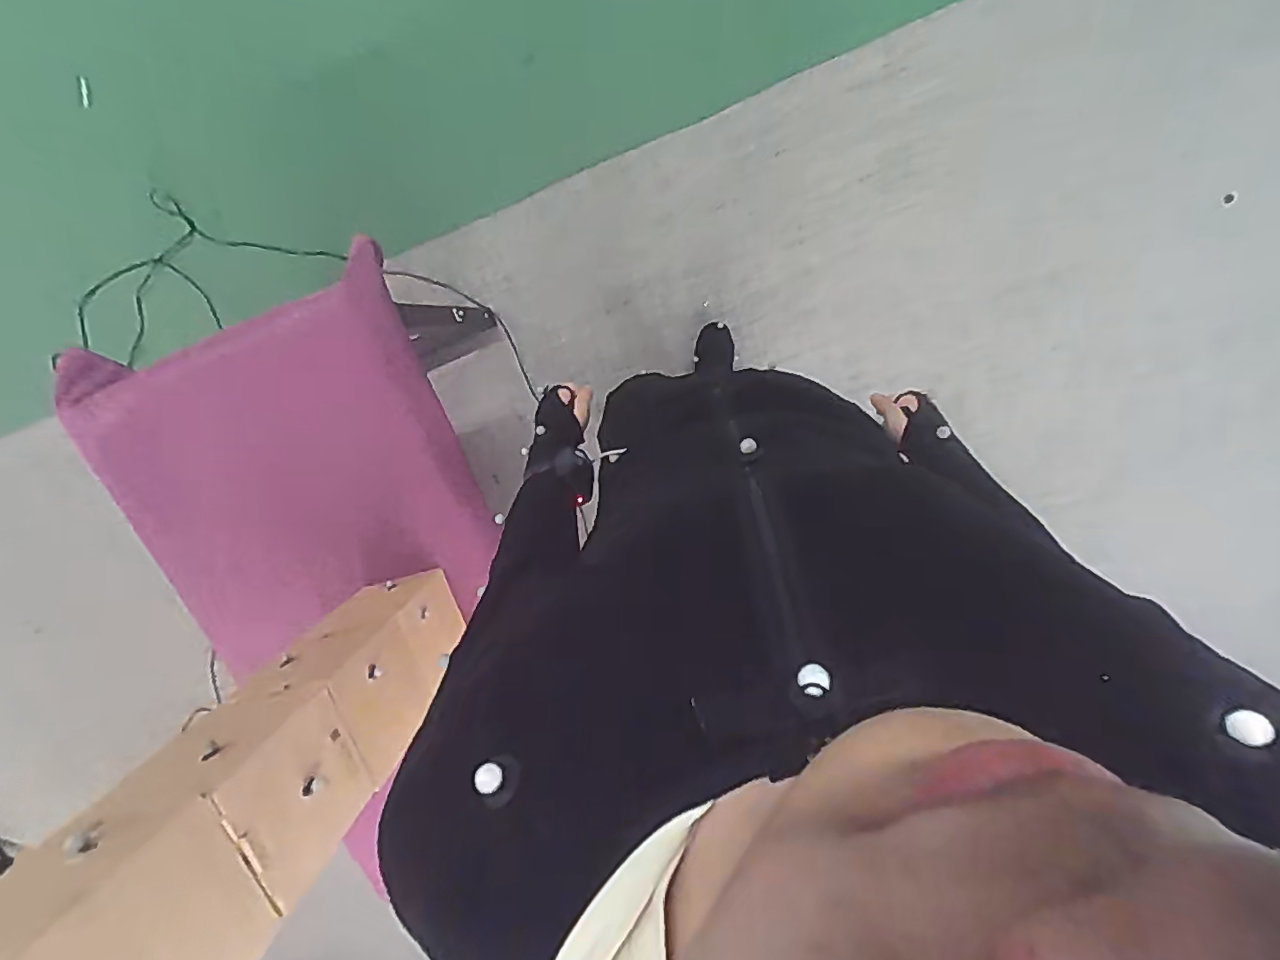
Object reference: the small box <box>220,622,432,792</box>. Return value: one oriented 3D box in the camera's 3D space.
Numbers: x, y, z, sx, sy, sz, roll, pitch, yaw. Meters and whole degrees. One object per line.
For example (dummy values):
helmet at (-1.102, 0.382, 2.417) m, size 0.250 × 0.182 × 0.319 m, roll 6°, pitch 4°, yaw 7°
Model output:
small box at (-0.435, 0.323, 0.779) m, size 0.168 × 0.176 × 0.179 m, roll -15°, pitch 104°, yaw 10°

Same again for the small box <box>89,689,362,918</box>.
small box at (-0.458, 0.368, 0.625) m, size 0.179 × 0.176 × 0.168 m, roll -15°, pitch 103°, yaw 10°

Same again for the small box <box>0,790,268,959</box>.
small box at (-0.477, 0.412, 0.467) m, size 0.168 × 0.176 × 0.179 m, roll -17°, pitch 102°, yaw 11°
